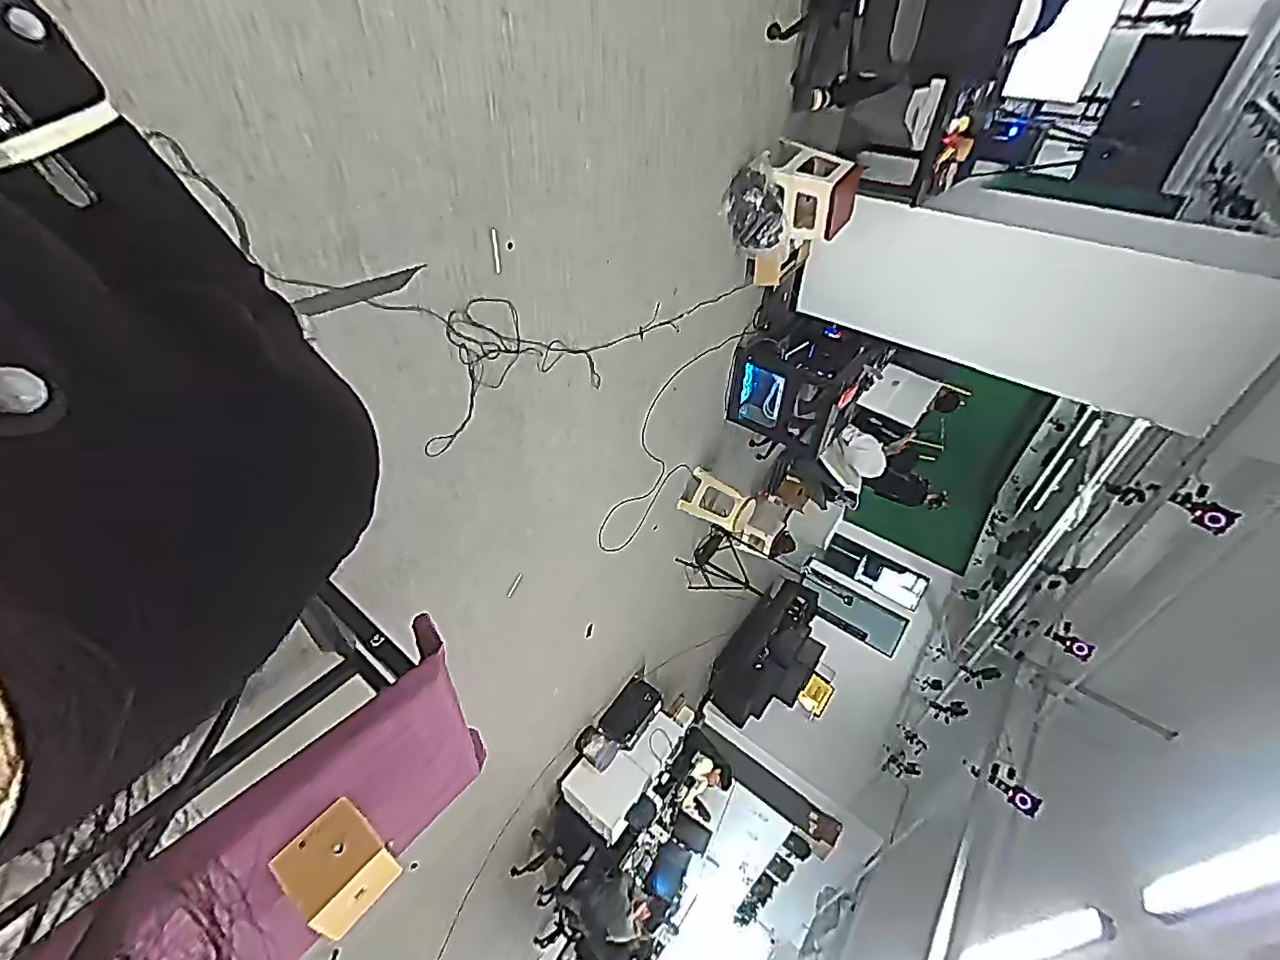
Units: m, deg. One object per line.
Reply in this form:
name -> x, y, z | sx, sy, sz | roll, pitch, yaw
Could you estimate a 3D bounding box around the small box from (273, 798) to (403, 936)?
small box -> -0.665, 0.846, 1.195 | 0.168, 0.176, 0.179 | -40, 147, -37
